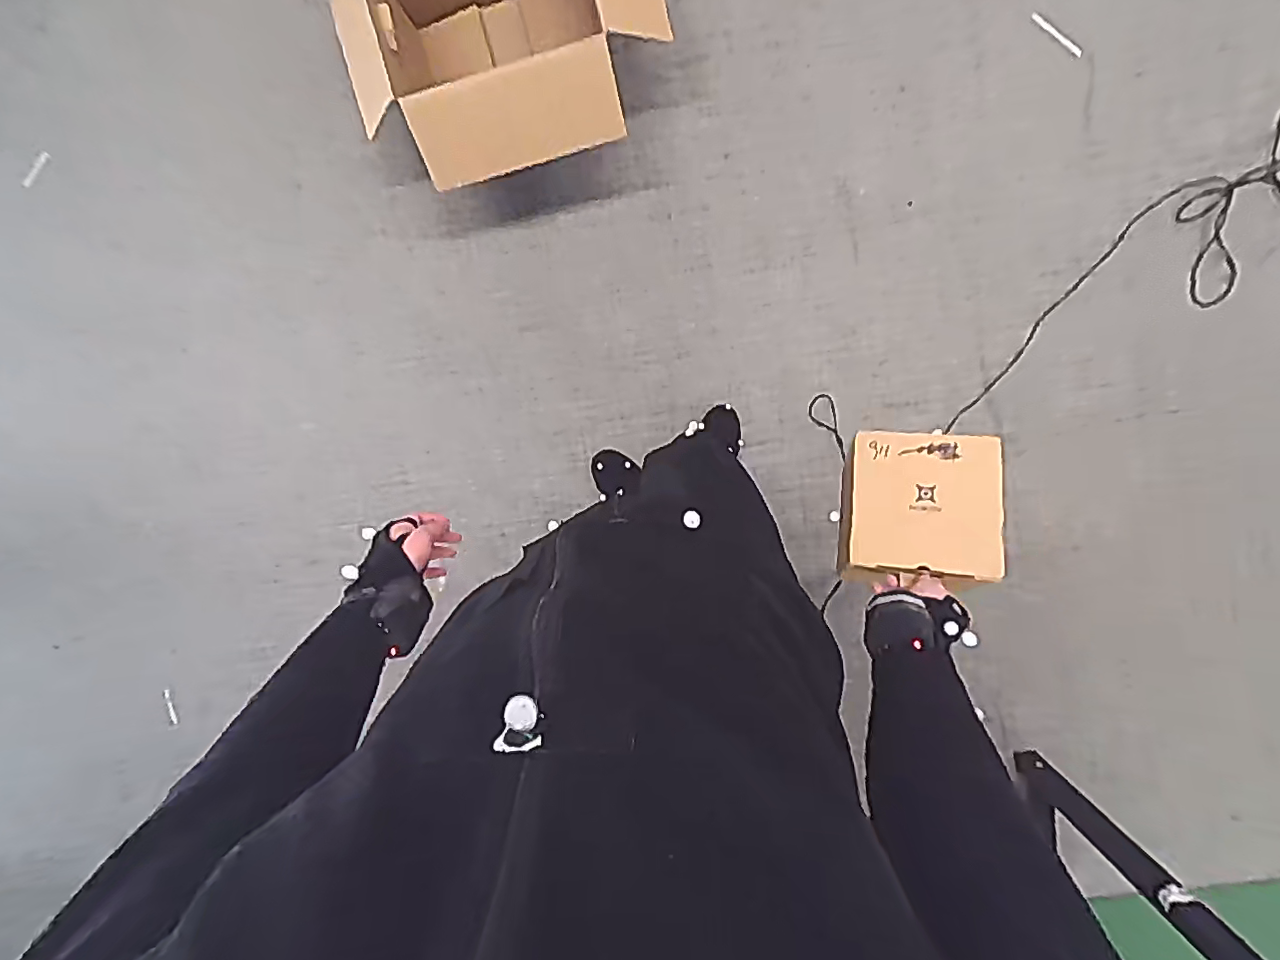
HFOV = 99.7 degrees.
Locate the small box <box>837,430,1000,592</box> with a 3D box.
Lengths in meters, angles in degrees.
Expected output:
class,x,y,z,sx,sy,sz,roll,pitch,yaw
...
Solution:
class,x,y,z,sx,sy,sz,roll,pitch,yaw
small box,0.361,0.048,0.725,0.168,0.176,0.179,5,74,16
